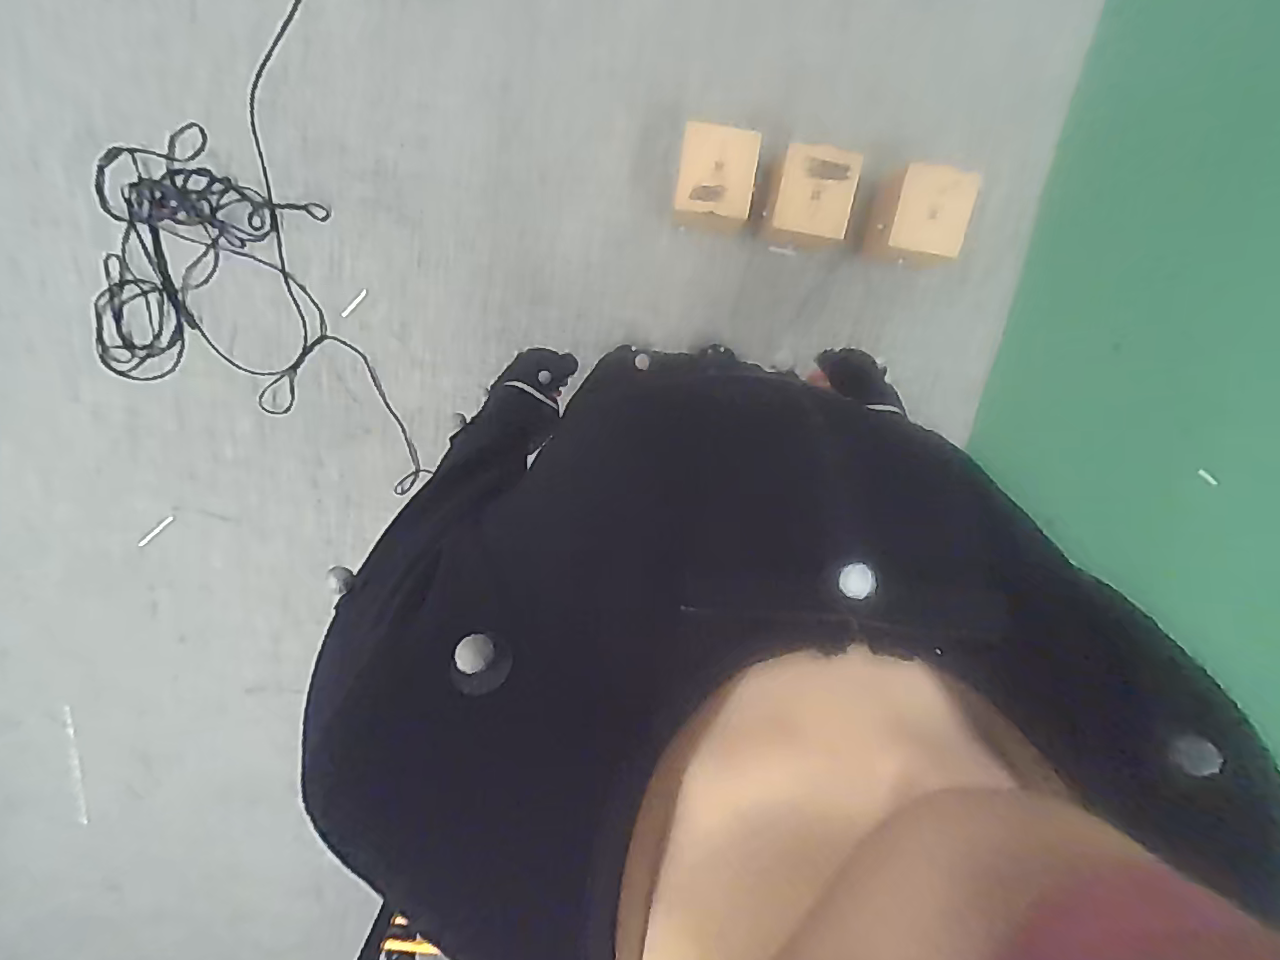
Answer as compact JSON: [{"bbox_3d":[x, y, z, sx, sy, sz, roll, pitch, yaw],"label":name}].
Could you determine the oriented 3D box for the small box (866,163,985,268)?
[{"bbox_3d":[0.648,-0.601,1.252,0.168,0.176,0.179,9,104,-2],"label":"small box"}]

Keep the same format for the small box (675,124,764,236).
[{"bbox_3d":[0.173,-0.673,1.235,0.168,0.176,0.179,8,103,-1],"label":"small box"}]
